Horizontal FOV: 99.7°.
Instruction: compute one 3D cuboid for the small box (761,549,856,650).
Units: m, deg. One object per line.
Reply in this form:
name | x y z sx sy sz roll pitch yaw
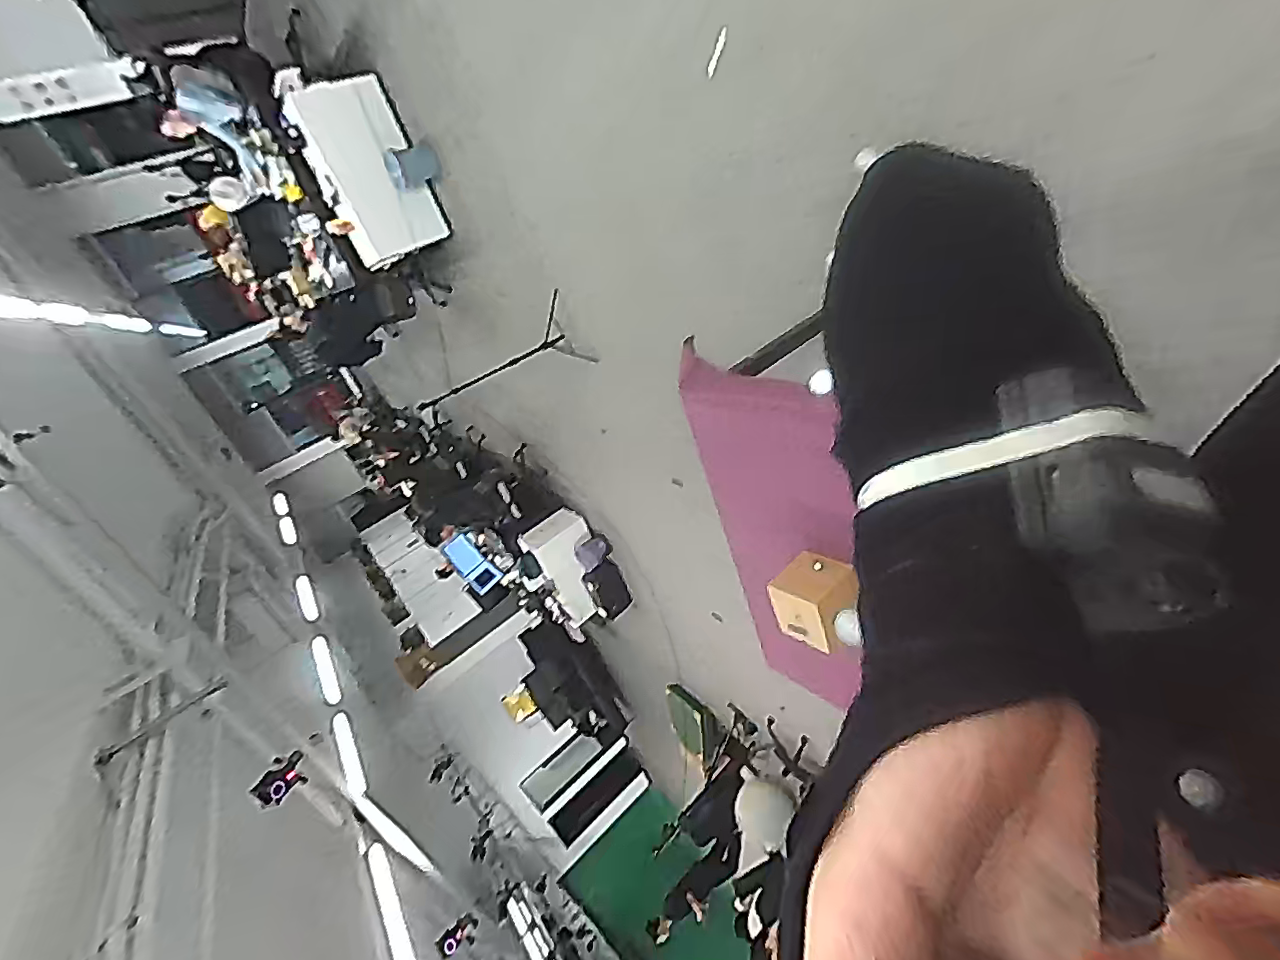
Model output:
small box | 0.465 0.319 1.475 0.168 0.176 0.179 15 134 54
